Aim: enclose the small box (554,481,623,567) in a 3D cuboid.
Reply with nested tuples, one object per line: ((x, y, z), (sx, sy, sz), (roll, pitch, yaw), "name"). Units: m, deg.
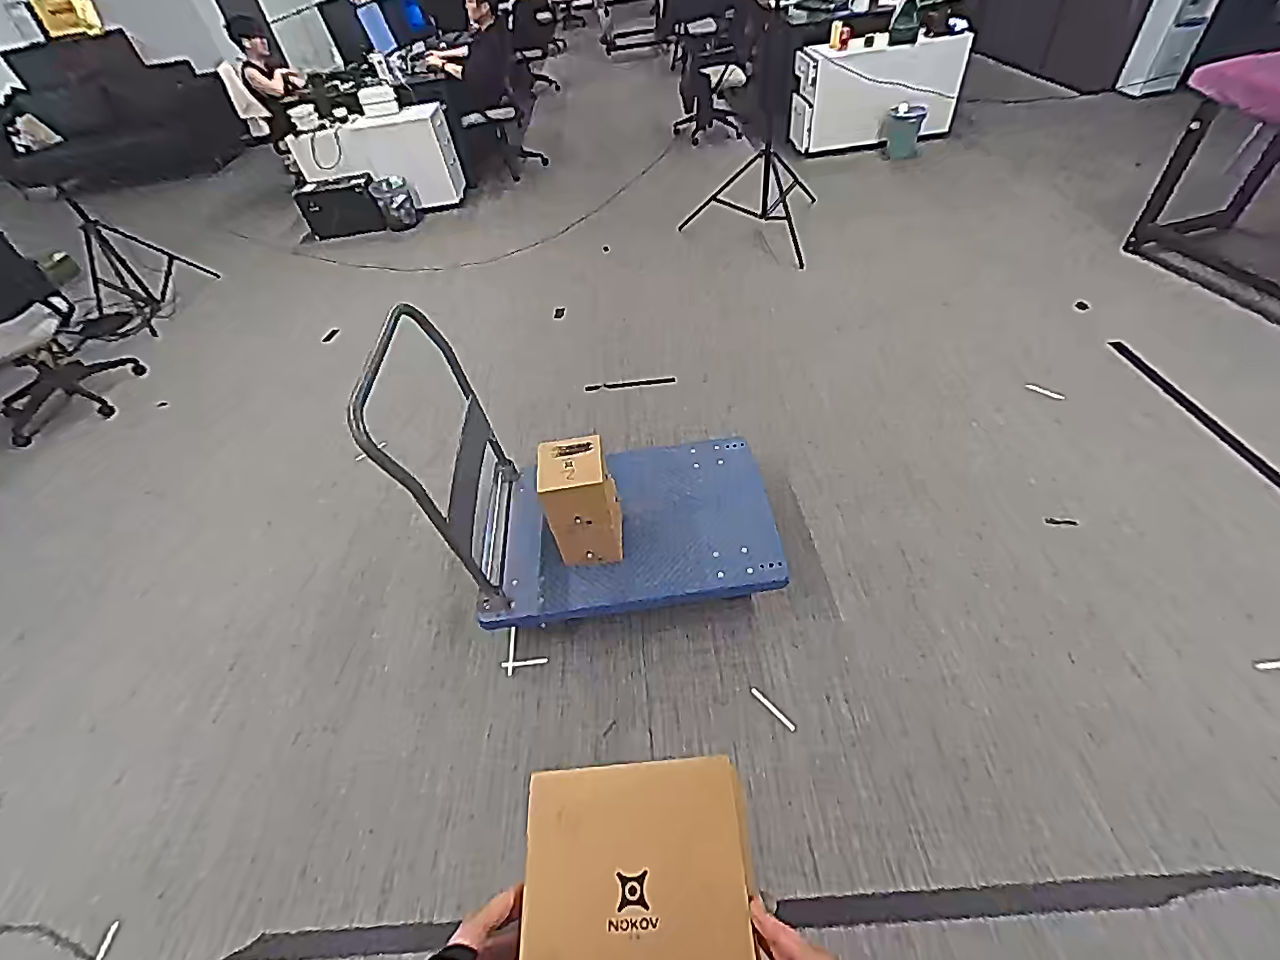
((-0.141, 0.126, 1.544), (0.168, 0.176, 0.179), (-6, 47, 4), "small box")
